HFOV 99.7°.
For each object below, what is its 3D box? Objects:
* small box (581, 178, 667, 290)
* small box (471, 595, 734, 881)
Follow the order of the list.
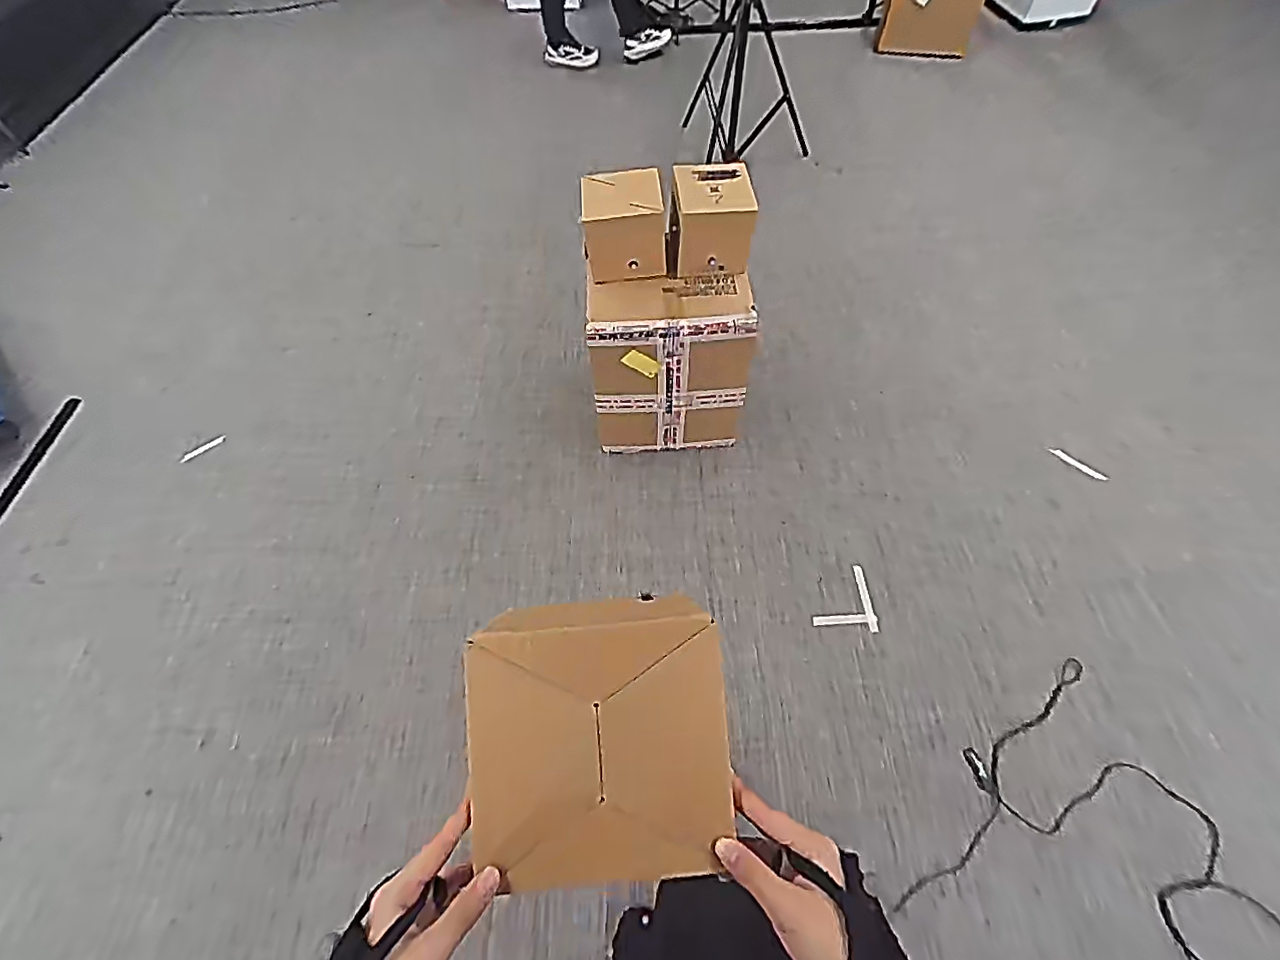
[{"bbox_3d":[-0.034,-0.573,1.258,0.179,0.176,0.168,-5,59,1],"label":"small box"},{"bbox_3d":[-0.032,0.192,0.447,0.179,0.176,0.168,-4,84,-2],"label":"small box"}]
